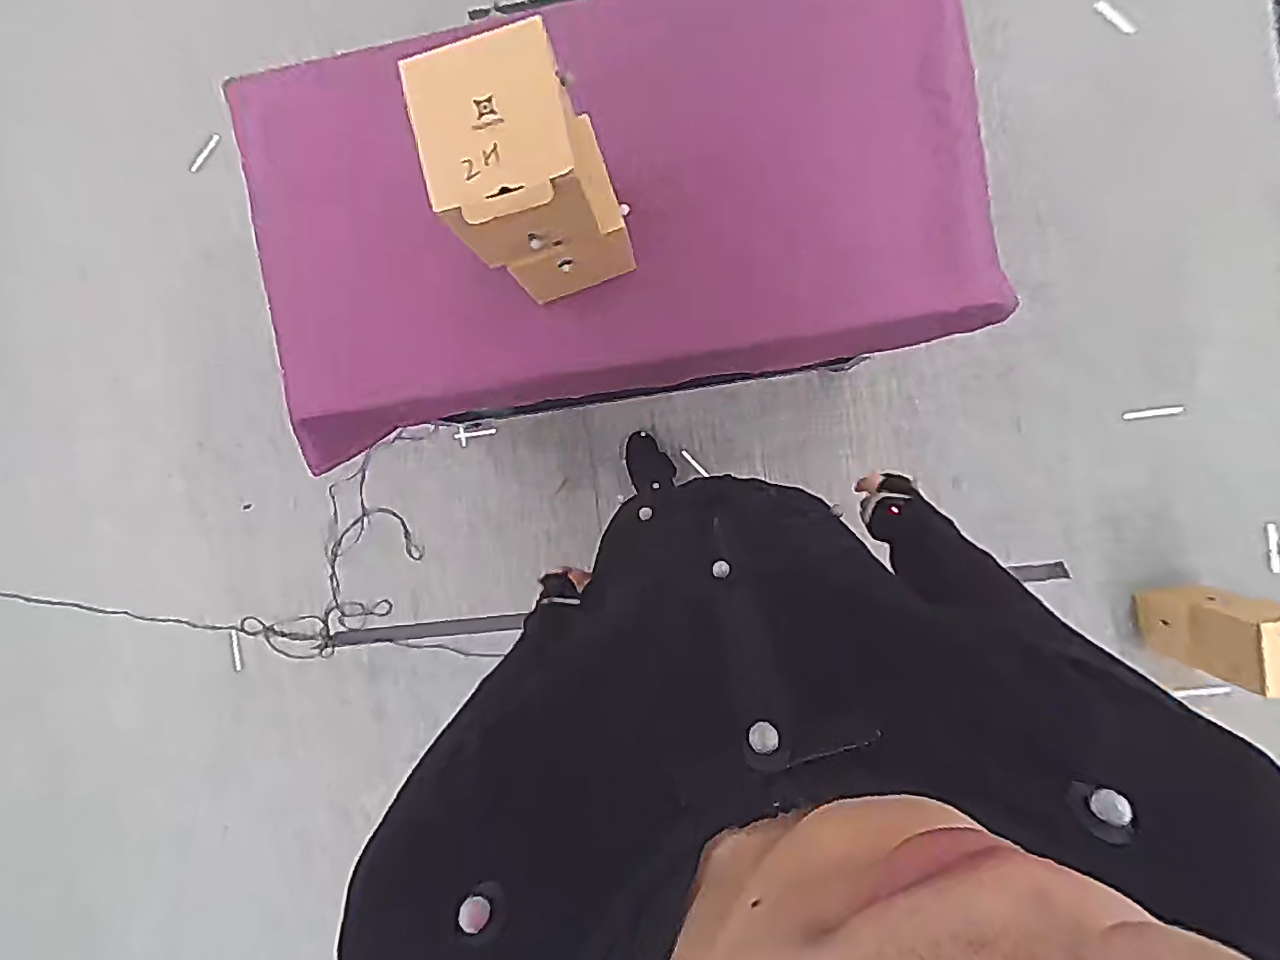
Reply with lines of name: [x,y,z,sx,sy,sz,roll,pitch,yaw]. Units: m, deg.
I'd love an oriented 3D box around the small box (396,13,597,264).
small box: [-0.160,-0.394,0.657,0.168,0.176,0.179,-13,91,6]

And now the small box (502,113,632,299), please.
small box: [-0.123,-0.397,0.819,0.179,0.176,0.168,-19,91,5]

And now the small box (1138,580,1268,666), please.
small box: [1.484,0.376,1.442,0.179,0.176,0.168,-11,91,5]
